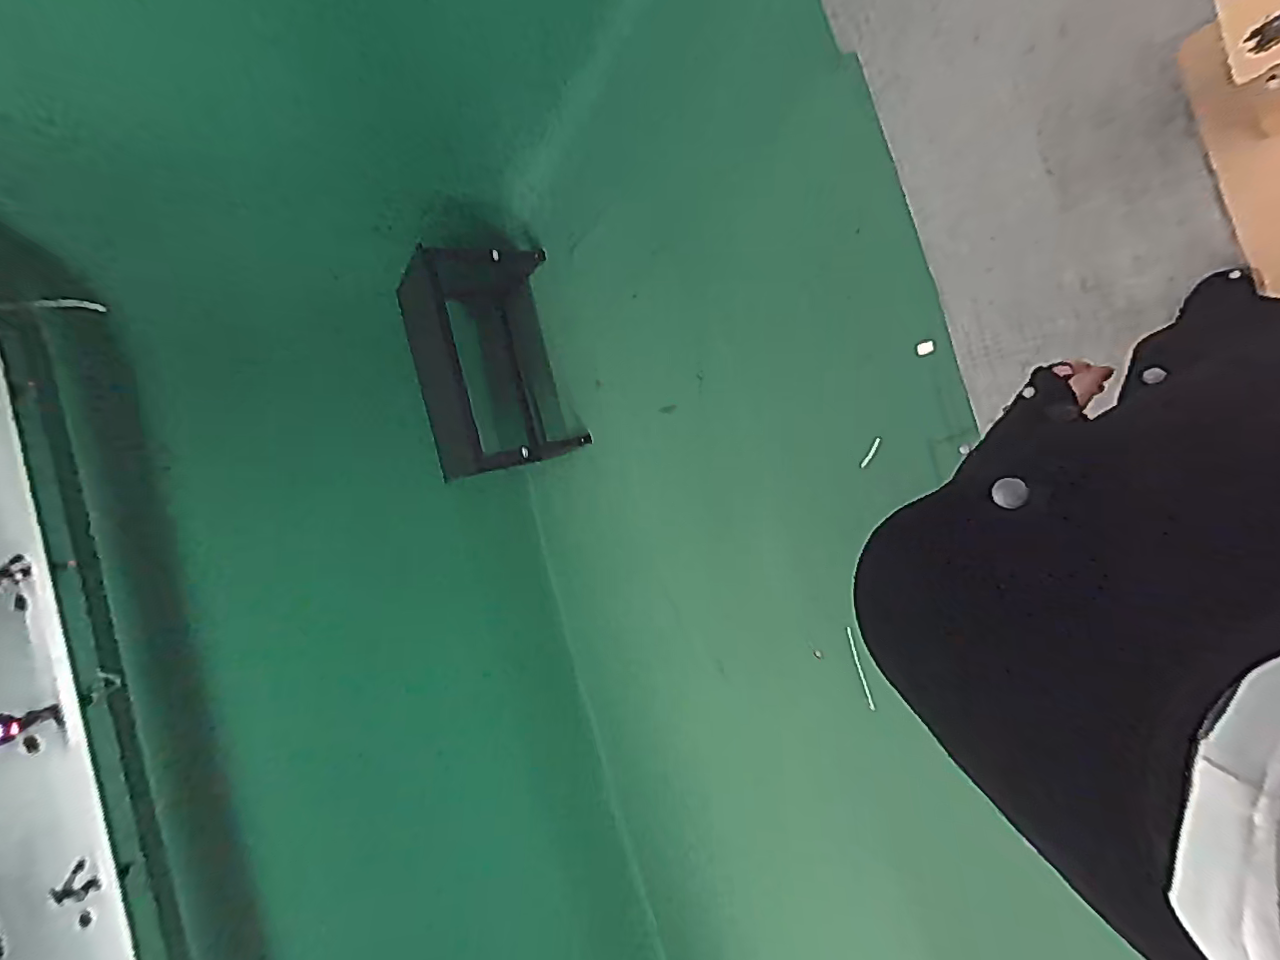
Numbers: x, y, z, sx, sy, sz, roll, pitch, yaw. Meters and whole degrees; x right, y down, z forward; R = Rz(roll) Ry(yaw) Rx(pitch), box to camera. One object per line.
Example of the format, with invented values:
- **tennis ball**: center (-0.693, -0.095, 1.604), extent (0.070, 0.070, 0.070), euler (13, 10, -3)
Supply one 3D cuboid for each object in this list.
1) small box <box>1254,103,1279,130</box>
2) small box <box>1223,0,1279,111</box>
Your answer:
- **small box**: center (1.154, -0.730, 0.906), extent (0.179, 0.176, 0.168), euler (-17, 87, 55)
- **small box**: center (1.029, -0.698, 0.808), extent (0.179, 0.176, 0.168), euler (-17, 89, 55)
